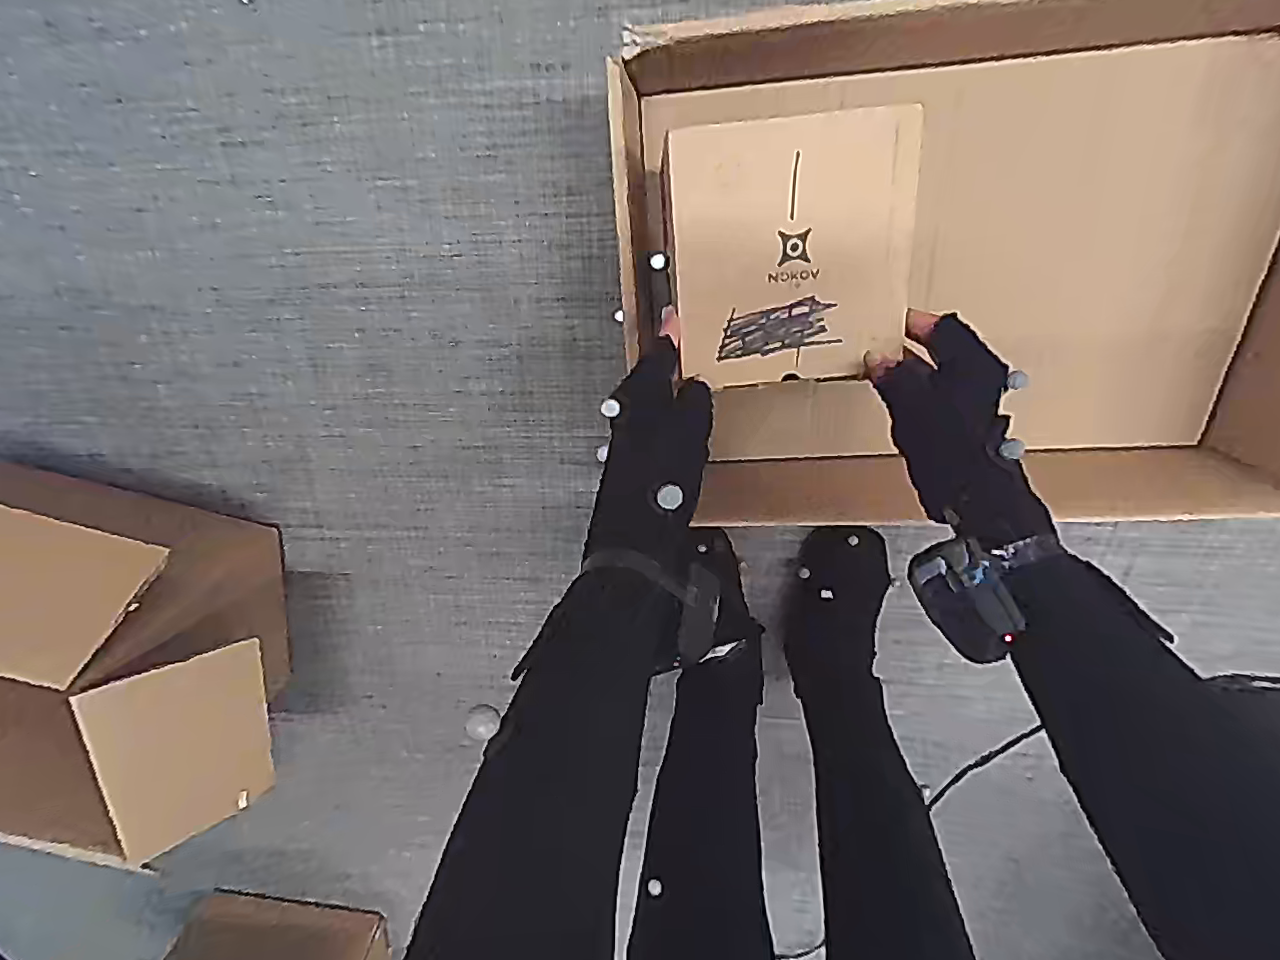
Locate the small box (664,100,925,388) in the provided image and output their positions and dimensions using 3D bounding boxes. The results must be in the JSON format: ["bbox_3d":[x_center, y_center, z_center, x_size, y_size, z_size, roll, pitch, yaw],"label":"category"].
[{"bbox_3d":[0.107,-0.185,0.449,0.168,0.176,0.179,-4,111,2],"label":"small box"}]
